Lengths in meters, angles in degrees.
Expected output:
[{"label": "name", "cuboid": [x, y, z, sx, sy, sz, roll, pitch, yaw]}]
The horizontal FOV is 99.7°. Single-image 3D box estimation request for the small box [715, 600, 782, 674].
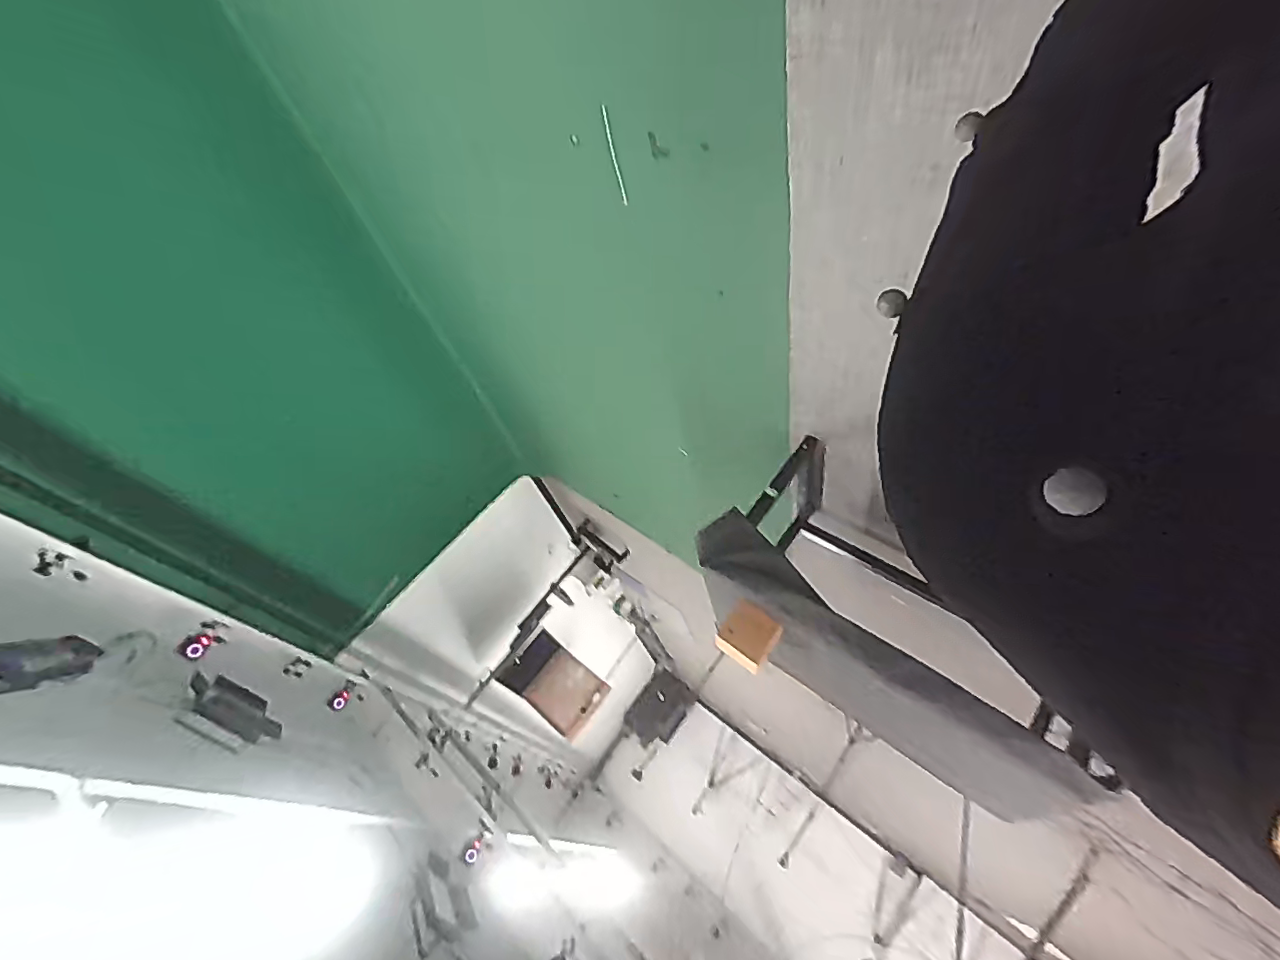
[{"label": "small box", "cuboid": [0.388, 0.559, 1.935, 0.179, 0.176, 0.168, 33, 159, 25]}]
